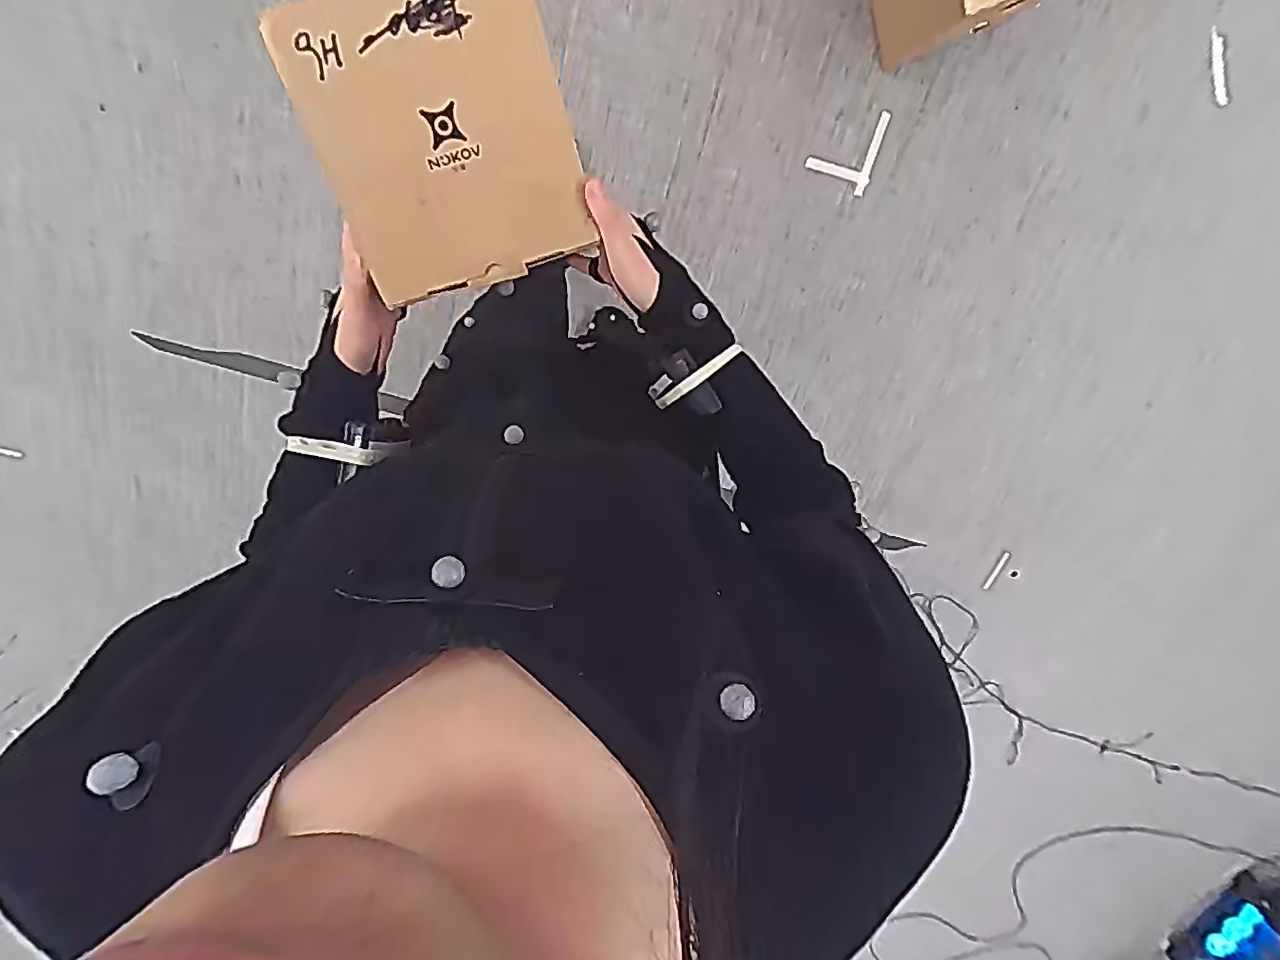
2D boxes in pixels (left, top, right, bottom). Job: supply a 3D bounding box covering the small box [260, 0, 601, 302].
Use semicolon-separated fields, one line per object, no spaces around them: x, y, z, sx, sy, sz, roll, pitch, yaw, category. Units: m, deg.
-0.141;-0.257;0.429;0.168;0.176;0.179;-20;114;-5;small box
